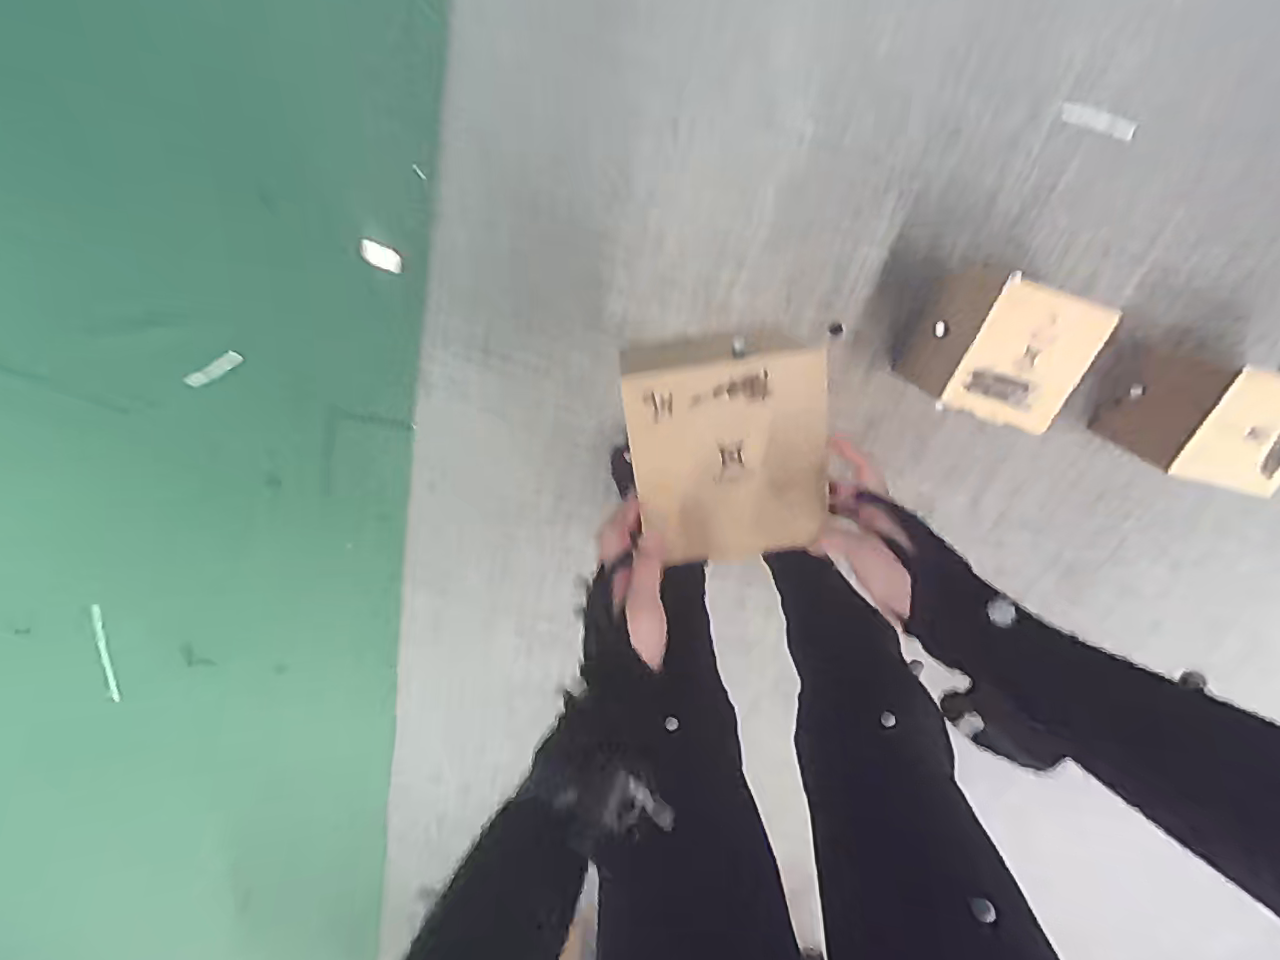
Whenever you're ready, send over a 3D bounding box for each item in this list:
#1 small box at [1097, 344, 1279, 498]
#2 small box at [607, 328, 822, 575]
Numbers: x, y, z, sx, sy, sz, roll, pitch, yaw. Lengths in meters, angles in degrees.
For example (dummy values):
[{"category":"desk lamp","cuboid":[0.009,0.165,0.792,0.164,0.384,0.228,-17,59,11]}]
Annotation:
[{"category":"small box","cuboid":[0.872,-0.096,0.821,0.179,0.176,0.168,13,116,-3]},{"category":"small box","cuboid":[0.063,-0.037,0.515,0.168,0.176,0.179,-9,112,0]}]
